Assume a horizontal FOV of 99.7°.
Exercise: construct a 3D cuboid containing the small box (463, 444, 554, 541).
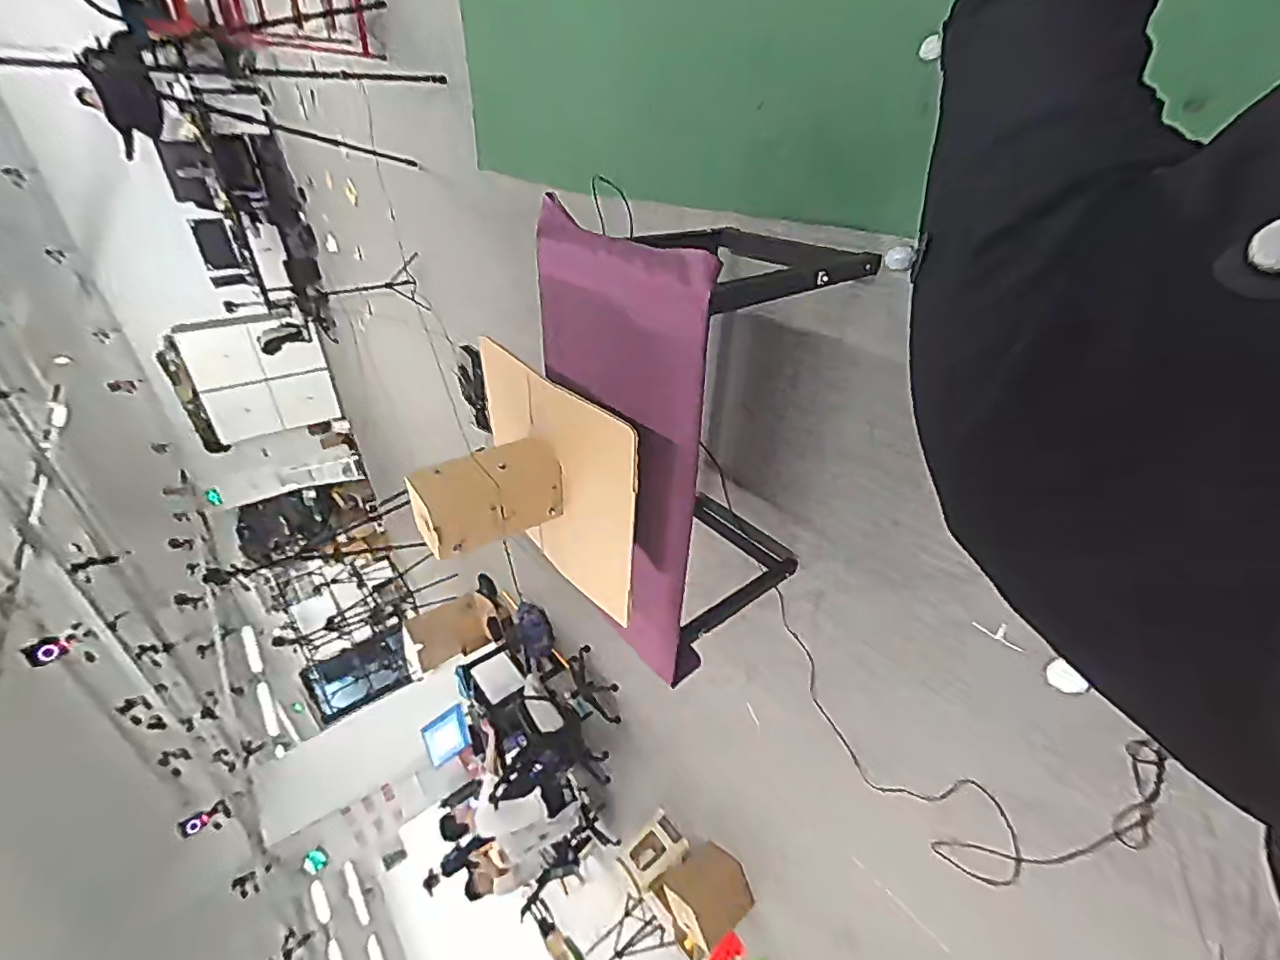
[{"bbox_3d":[-0.334,0.023,1.406,0.179,0.176,0.168,34,135,40],"label":"small box"}]
